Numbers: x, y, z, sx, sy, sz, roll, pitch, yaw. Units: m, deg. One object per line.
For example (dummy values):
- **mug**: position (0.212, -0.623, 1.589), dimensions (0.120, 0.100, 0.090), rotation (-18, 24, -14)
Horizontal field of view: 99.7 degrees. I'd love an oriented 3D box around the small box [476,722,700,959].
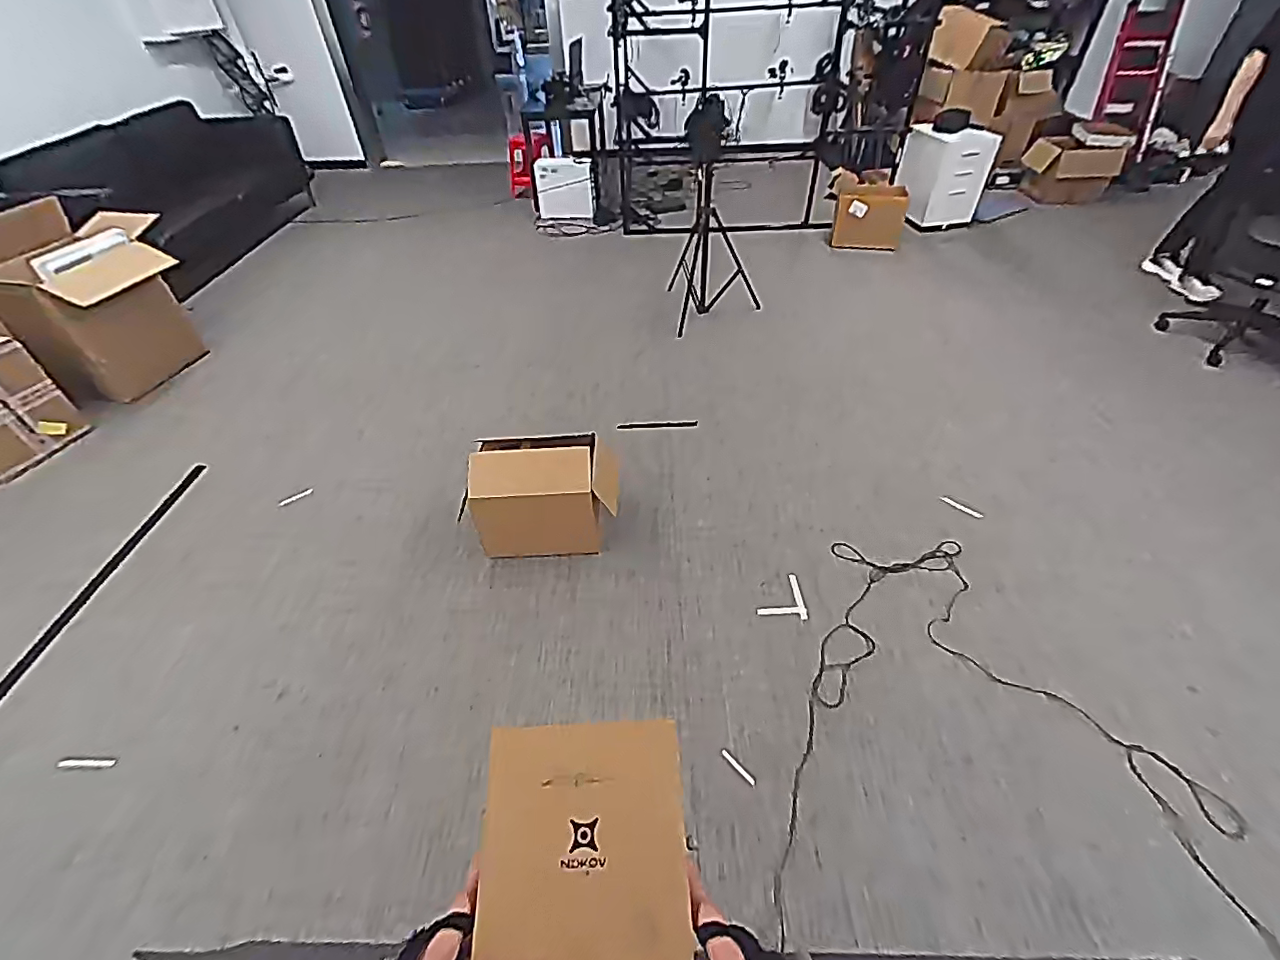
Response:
- **small box**: position (-0.040, 0.333, 0.494), dimensions (0.168, 0.176, 0.179), rotation (-2, 55, -2)
